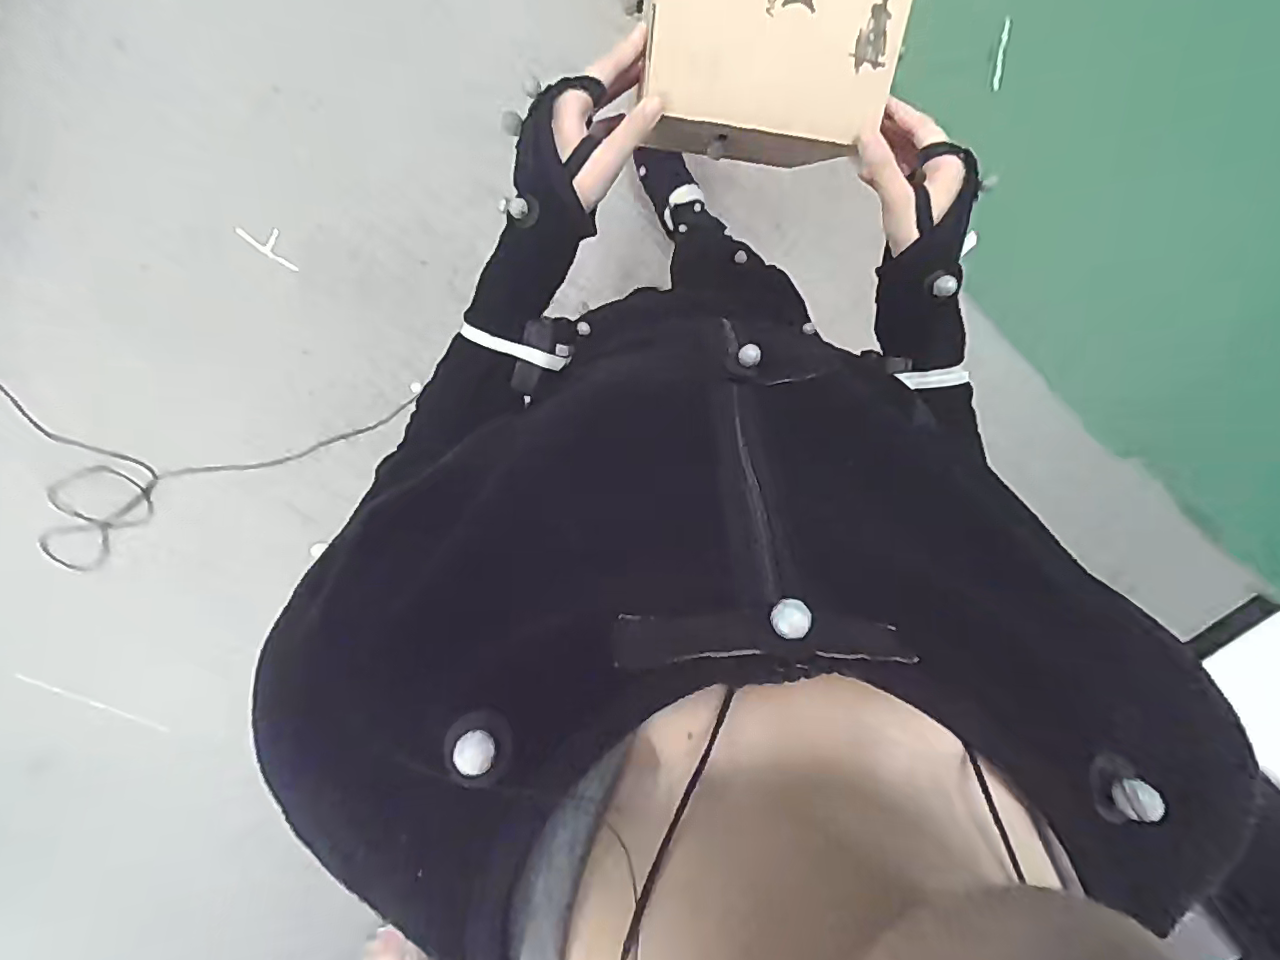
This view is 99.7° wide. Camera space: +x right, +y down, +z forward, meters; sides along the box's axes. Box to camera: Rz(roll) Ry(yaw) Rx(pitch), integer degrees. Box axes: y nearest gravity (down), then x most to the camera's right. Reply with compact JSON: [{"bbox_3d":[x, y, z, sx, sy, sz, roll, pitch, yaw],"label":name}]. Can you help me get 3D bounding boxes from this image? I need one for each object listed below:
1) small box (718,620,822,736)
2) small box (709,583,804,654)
[{"bbox_3d":[0.311,0.486,1.345,0.168,0.176,0.179,40,104,-19],"label":"small box"},{"bbox_3d":[0.312,0.411,1.488,0.179,0.176,0.168,38,109,-19],"label":"small box"}]
